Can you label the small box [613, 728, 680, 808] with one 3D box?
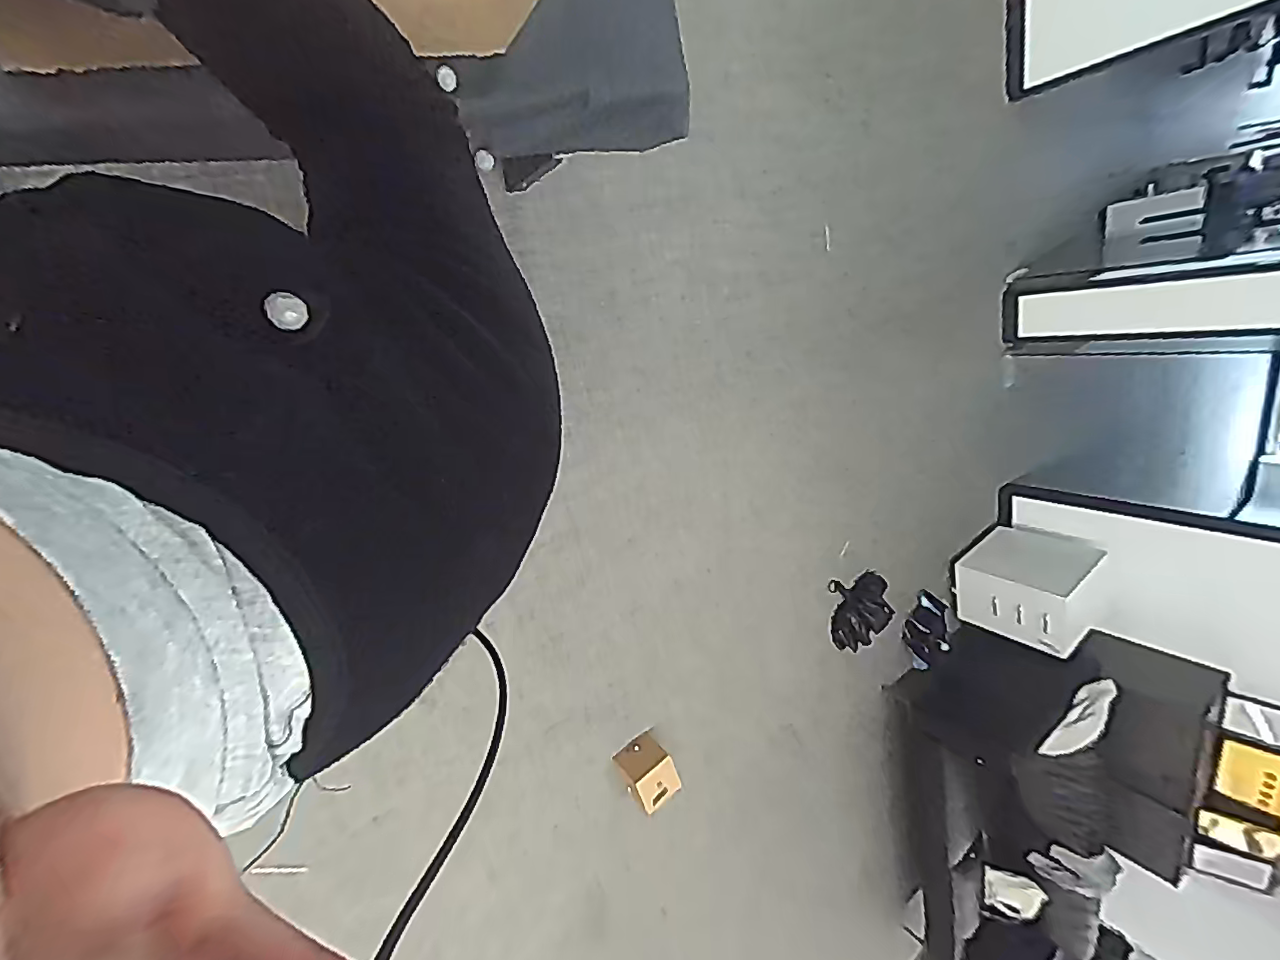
[{"bbox_3d":[0.023,1.096,2.074,0.168,0.176,0.179,-31,115,-26],"label":"small box"}]
